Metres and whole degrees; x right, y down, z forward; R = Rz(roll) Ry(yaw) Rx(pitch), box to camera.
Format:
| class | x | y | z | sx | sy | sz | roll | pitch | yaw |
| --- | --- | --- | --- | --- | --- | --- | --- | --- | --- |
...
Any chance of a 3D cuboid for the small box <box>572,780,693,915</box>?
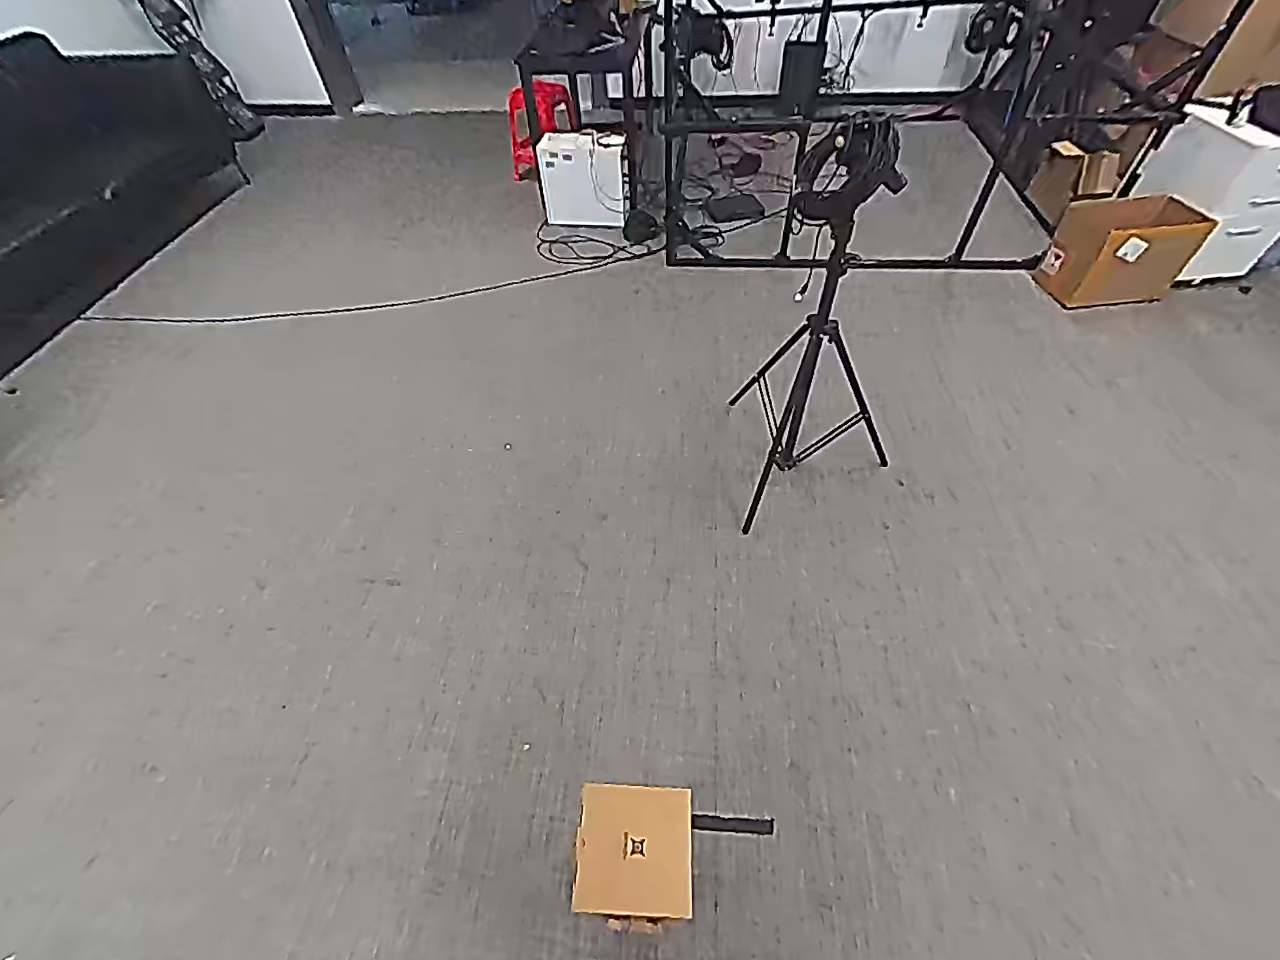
| class | x | y | z | sx | sy | sz | roll | pitch | yaw |
| --- | --- | --- | --- | --- | --- | --- | --- | --- | --- |
| small box | -0.006 | 0.601 | 0.886 | 0.179 | 0.176 | 0.168 | 1 | 52 | 3 |
